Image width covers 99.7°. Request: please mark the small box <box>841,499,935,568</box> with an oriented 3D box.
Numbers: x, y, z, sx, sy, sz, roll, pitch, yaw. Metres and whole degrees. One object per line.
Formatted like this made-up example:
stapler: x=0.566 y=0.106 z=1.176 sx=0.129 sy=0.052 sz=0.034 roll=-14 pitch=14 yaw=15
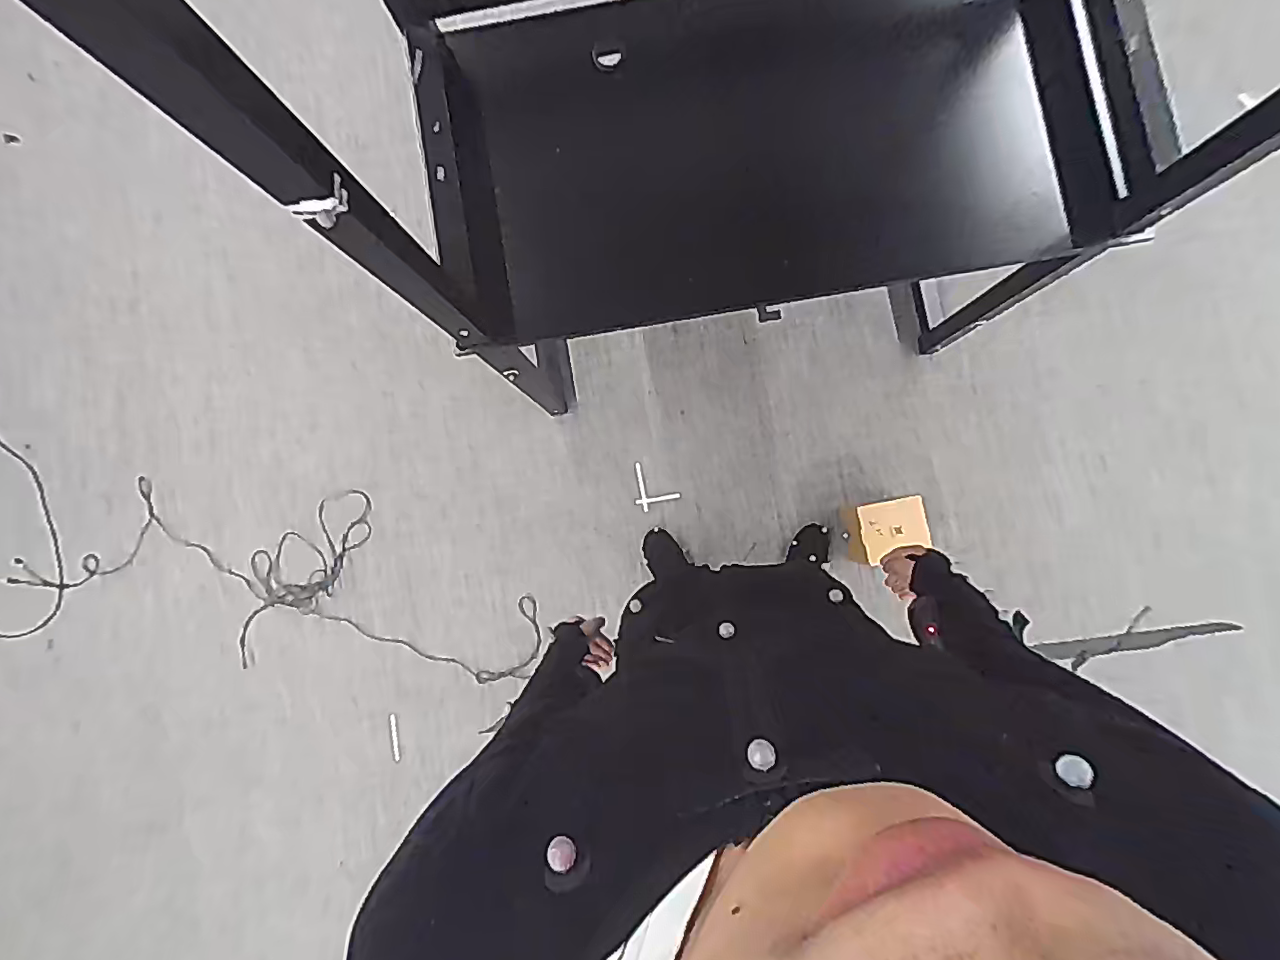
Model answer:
small box: x=0.692 y=0.146 z=1.523 sx=0.179 sy=0.176 sz=0.168 roll=-11 pitch=86 yaw=3
